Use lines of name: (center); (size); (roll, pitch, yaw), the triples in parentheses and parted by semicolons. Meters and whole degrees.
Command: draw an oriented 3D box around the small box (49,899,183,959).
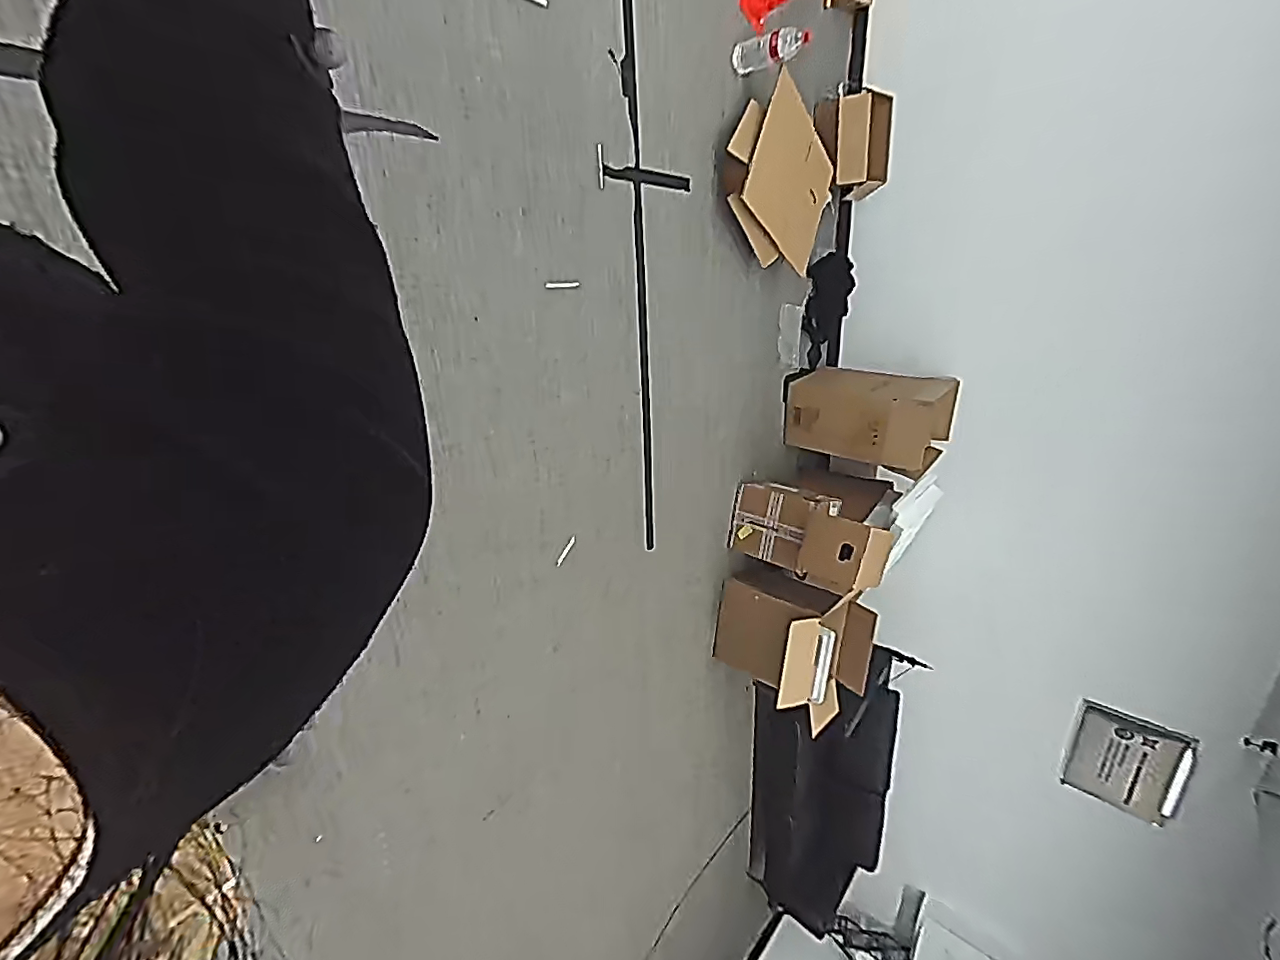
small box: (-0.954, 0.928, 0.982); (0.179, 0.176, 0.168); (-25, 118, -43)
